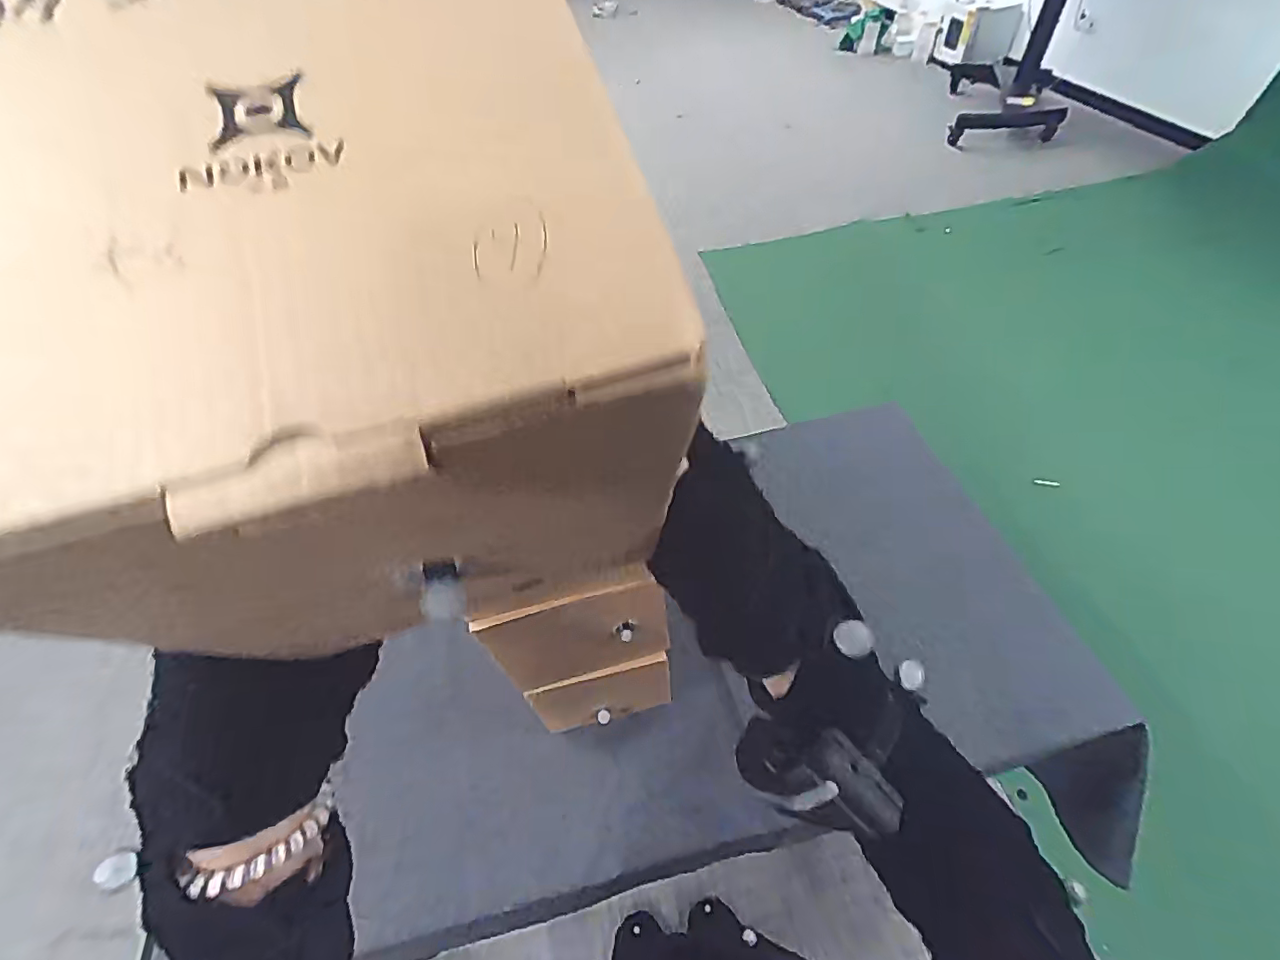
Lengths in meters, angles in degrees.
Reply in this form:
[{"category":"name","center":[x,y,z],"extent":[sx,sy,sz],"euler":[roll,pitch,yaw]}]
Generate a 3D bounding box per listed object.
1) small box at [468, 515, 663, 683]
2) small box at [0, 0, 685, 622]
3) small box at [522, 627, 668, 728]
[{"category":"small box","center":[-0.078,0.096,0.587],"extent":[0.179,0.176,0.168],"euler":[-14,50,-6]},{"category":"small box","center":[-0.093,-0.052,0.208],"extent":[0.168,0.176,0.179],"euler":[-15,70,-9]},{"category":"small box","center":[-0.062,0.200,0.712],"extent":[0.168,0.176,0.179],"euler":[-12,52,-5]}]
